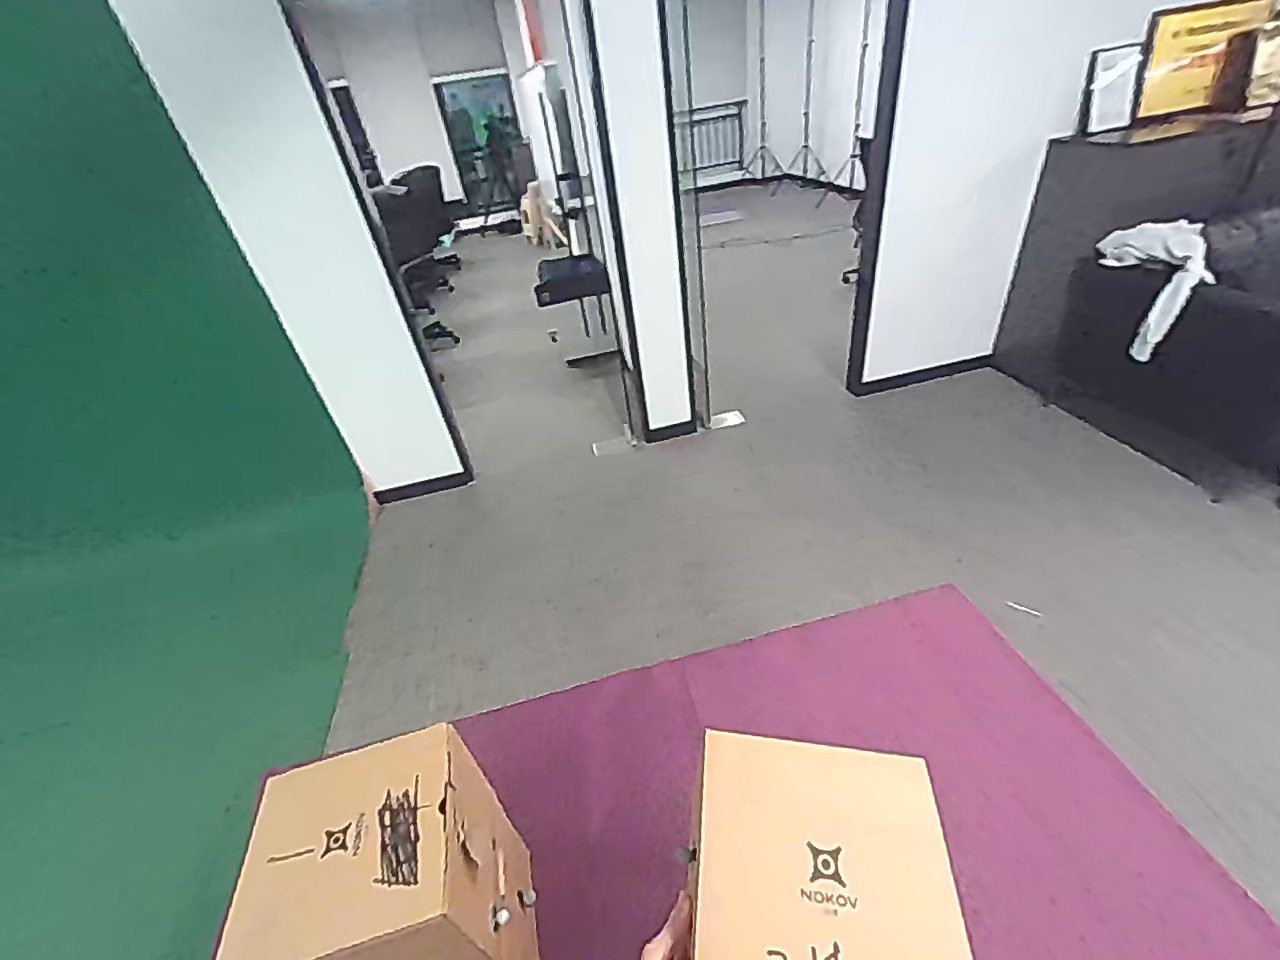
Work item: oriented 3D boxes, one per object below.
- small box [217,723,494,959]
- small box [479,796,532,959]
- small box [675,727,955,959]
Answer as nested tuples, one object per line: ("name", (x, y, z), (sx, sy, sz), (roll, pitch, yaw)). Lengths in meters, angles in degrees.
("small box", (-0.246, 0.374, 0.520), (0.179, 0.176, 0.168), (-16, 38, -7))
("small box", (-0.226, 0.504, 0.619), (0.179, 0.176, 0.168), (-15, 37, -8))
("small box", (0.116, 0.320, 0.412), (0.168, 0.176, 0.179), (5, 44, 7))
